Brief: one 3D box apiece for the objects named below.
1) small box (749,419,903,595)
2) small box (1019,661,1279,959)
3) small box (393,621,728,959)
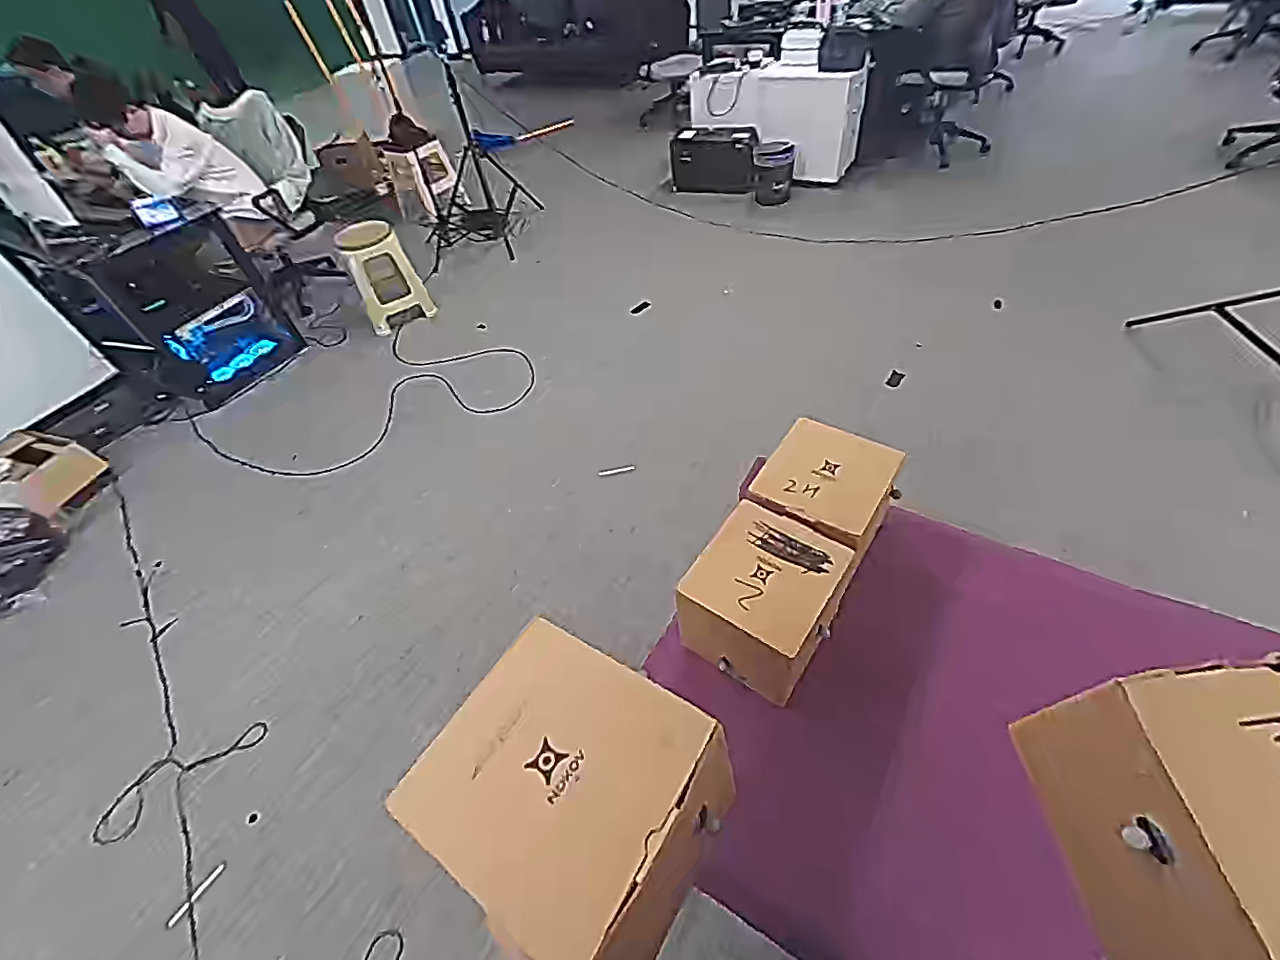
[{"bbox_3d":[0.277,0.042,0.837,0.168,0.176,0.179,25,57,28],"label":"small box"},{"bbox_3d":[0.367,0.214,0.314,0.168,0.176,0.179,-10,56,7],"label":"small box"},{"bbox_3d":[-0.043,0.250,0.426,0.179,0.176,0.168,19,54,30],"label":"small box"}]
